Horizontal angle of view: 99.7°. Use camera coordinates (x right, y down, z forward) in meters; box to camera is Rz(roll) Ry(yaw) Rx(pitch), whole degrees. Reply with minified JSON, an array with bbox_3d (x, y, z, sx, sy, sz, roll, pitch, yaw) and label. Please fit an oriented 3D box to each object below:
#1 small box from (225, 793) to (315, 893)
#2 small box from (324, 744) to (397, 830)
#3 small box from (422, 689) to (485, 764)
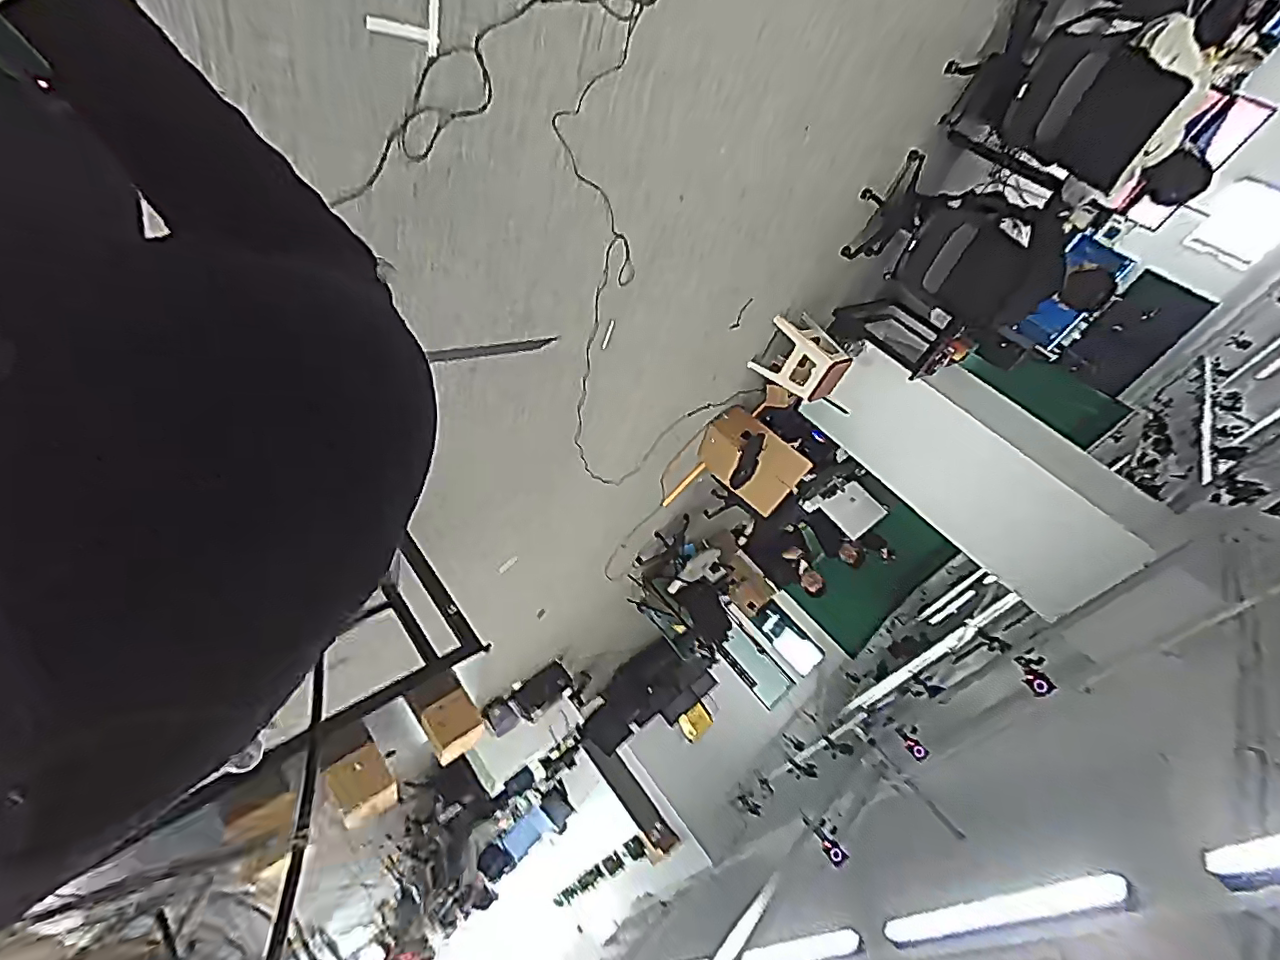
[{"bbox_3d":[-1.118,1.096,1.642,0.179,0.176,0.168,-23,151,-43],"label":"small box"},{"bbox_3d":[-0.940,1.026,1.817,0.168,0.176,0.179,-24,150,-40],"label":"small box"},{"bbox_3d":[-0.703,0.916,2.025,0.168,0.176,0.179,-24,152,-37],"label":"small box"}]
